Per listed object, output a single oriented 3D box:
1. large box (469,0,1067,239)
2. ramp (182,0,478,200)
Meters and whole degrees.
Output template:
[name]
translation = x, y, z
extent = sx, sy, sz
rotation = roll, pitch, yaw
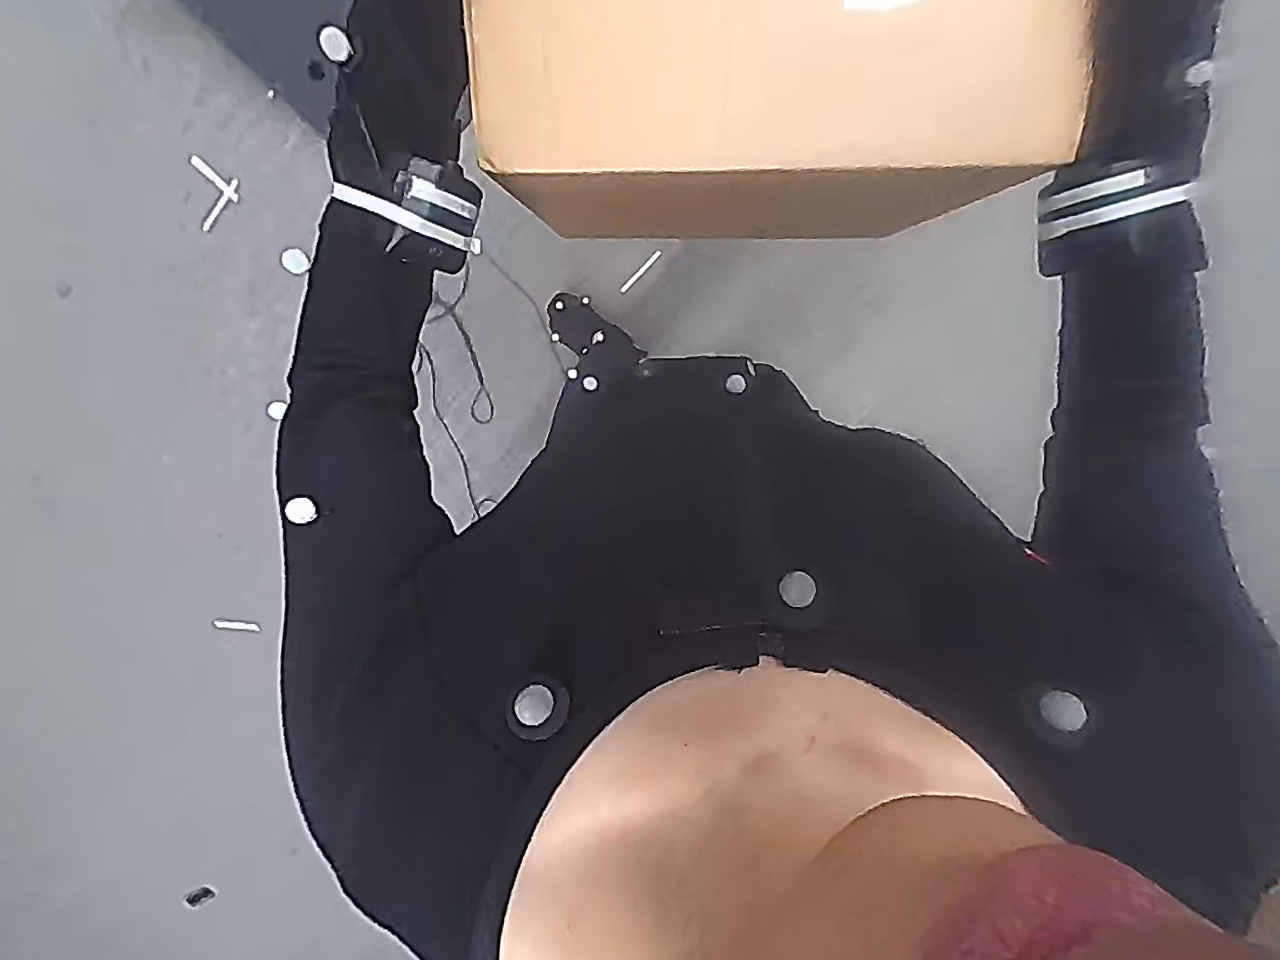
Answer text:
[large box]
translation = 0.083, -0.414, 0.487
extent = 0.408, 0.320, 0.320
rotation = -1, 106, 2
[ramp]
translation = -0.783, -1.173, 1.145
extent = 0.991, 0.206, 0.509
rotation = 42, 101, -9
